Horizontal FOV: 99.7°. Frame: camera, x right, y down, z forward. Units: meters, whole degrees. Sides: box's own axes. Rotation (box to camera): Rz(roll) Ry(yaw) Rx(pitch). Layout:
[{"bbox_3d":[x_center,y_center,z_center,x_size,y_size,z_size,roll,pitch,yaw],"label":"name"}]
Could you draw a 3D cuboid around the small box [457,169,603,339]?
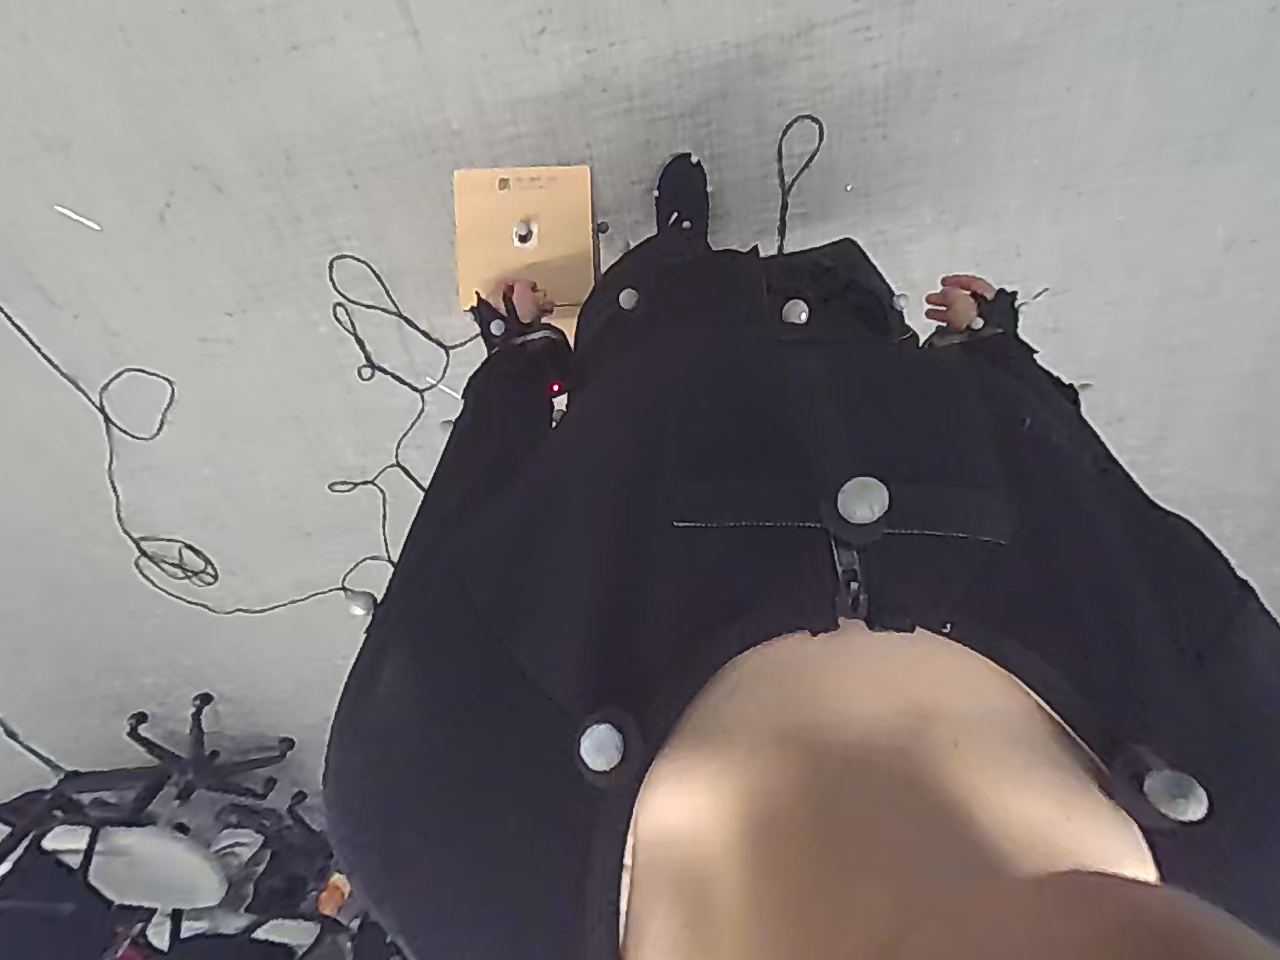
[{"bbox_3d":[-0.139,-0.297,0.731,0.168,0.179,0.176,-3,93,-1],"label":"small box"}]
